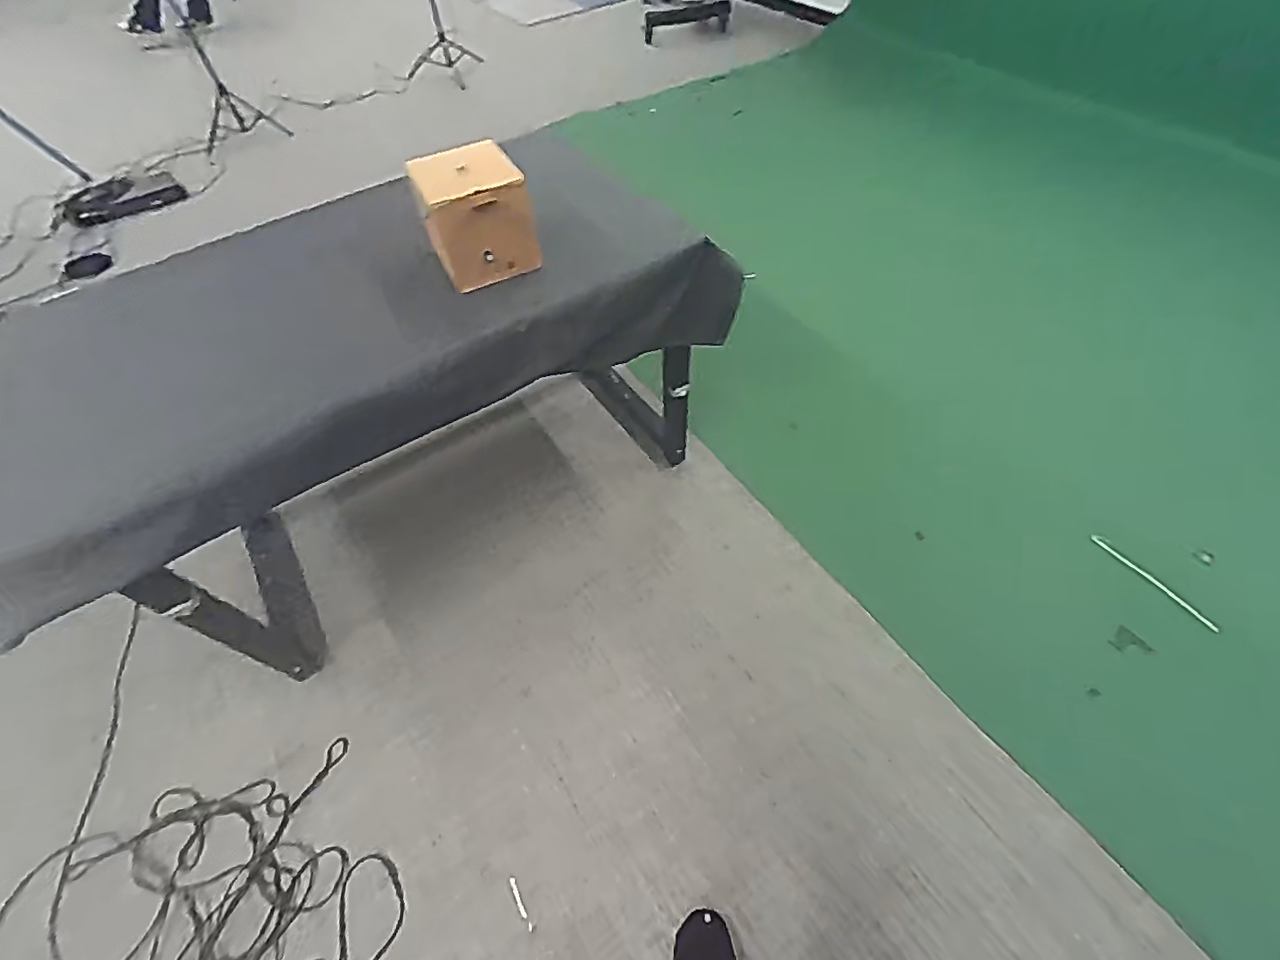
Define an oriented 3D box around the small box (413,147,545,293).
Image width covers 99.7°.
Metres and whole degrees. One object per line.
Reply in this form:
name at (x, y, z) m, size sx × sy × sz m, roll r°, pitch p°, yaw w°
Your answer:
small box at (-0.292, -0.478, 1.001) m, size 0.168 × 0.176 × 0.179 m, roll -25°, pitch 57°, yaw -15°
